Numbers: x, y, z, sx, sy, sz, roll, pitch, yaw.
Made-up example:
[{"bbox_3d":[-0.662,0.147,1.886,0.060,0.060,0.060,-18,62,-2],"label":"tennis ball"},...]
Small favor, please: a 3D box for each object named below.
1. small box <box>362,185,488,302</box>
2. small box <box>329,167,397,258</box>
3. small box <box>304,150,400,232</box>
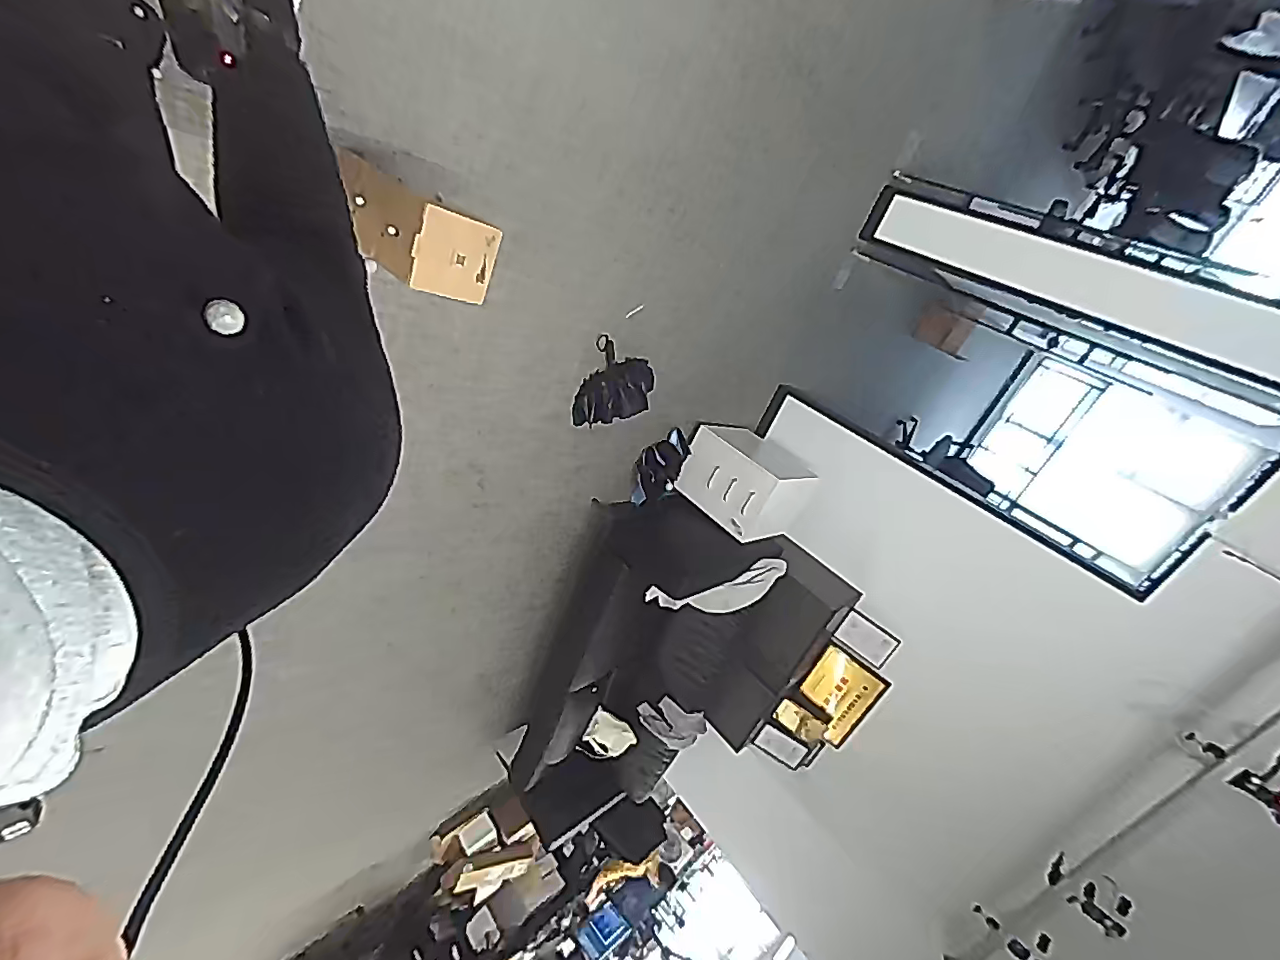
[{"bbox_3d":[-0.461,-0.503,1.150,0.179,0.176,0.168,-3,125,-51],"label":"small box"},{"bbox_3d":[-0.572,-0.582,1.239,0.179,0.176,0.168,10,114,-56],"label":"small box"},{"bbox_3d":[-0.681,-0.672,1.322,0.179,0.176,0.168,8,115,-55],"label":"small box"}]
